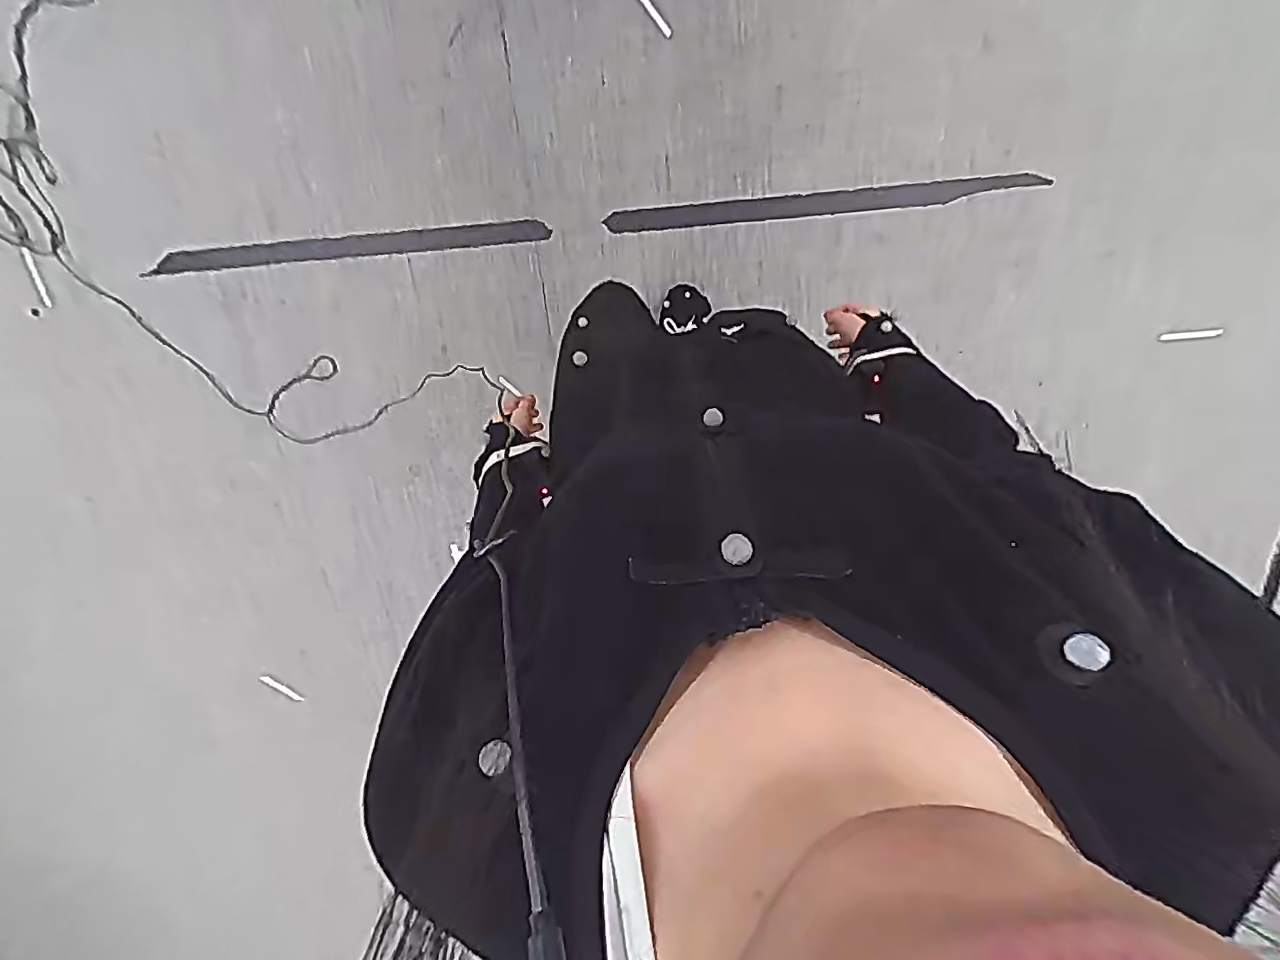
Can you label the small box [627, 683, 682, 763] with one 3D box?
[{"bbox_3d":[0.045,0.767,1.720,0.168,0.176,0.179,-2,111,3],"label":"small box"}]
